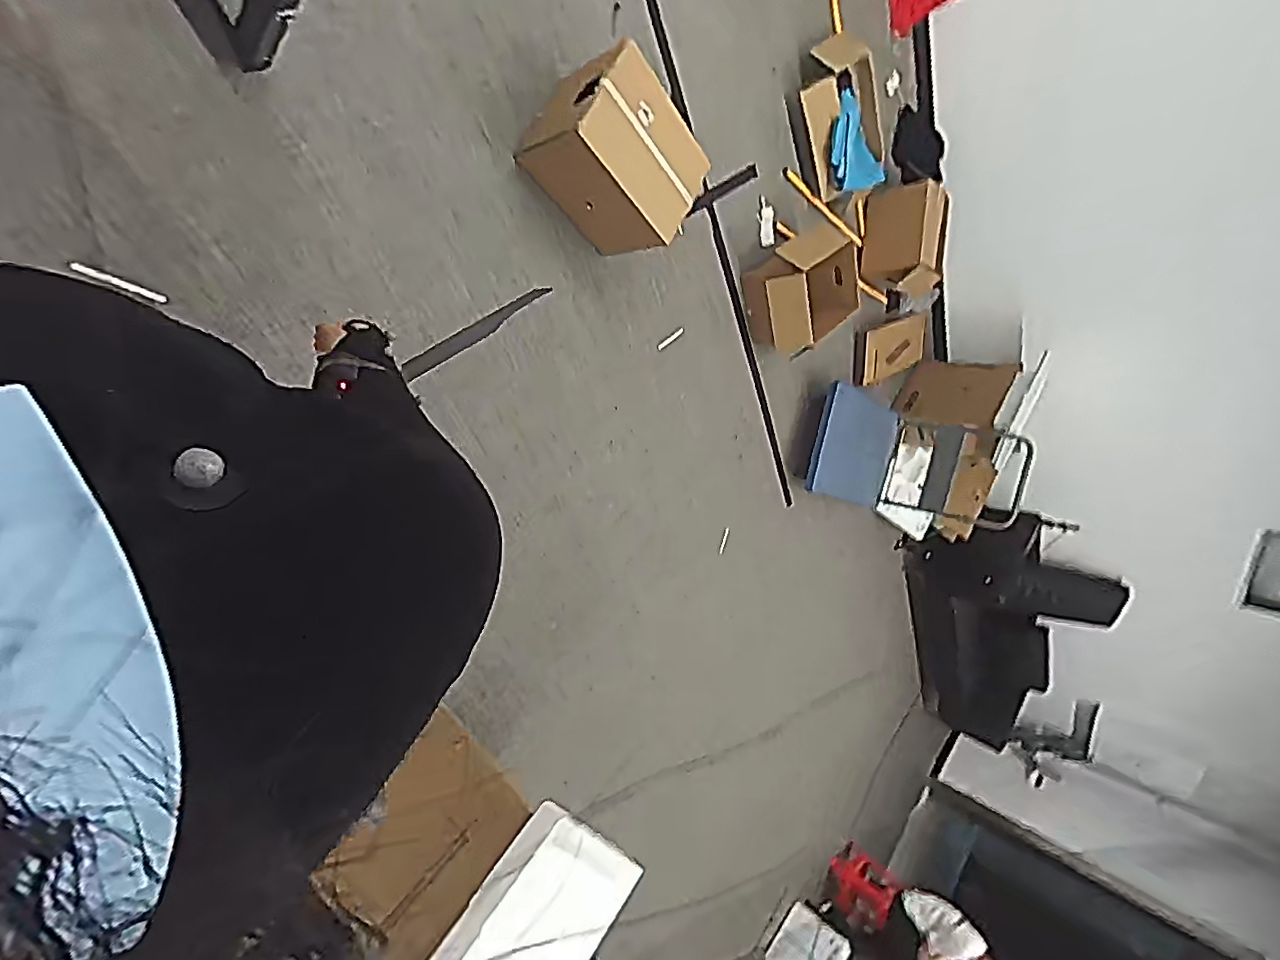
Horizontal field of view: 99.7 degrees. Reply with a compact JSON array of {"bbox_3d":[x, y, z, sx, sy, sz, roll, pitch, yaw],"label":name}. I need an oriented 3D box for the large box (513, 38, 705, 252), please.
[{"bbox_3d":[-0.085,-0.941,1.589,0.408,0.320,0.320,34,76,-42],"label":"large box"}]
